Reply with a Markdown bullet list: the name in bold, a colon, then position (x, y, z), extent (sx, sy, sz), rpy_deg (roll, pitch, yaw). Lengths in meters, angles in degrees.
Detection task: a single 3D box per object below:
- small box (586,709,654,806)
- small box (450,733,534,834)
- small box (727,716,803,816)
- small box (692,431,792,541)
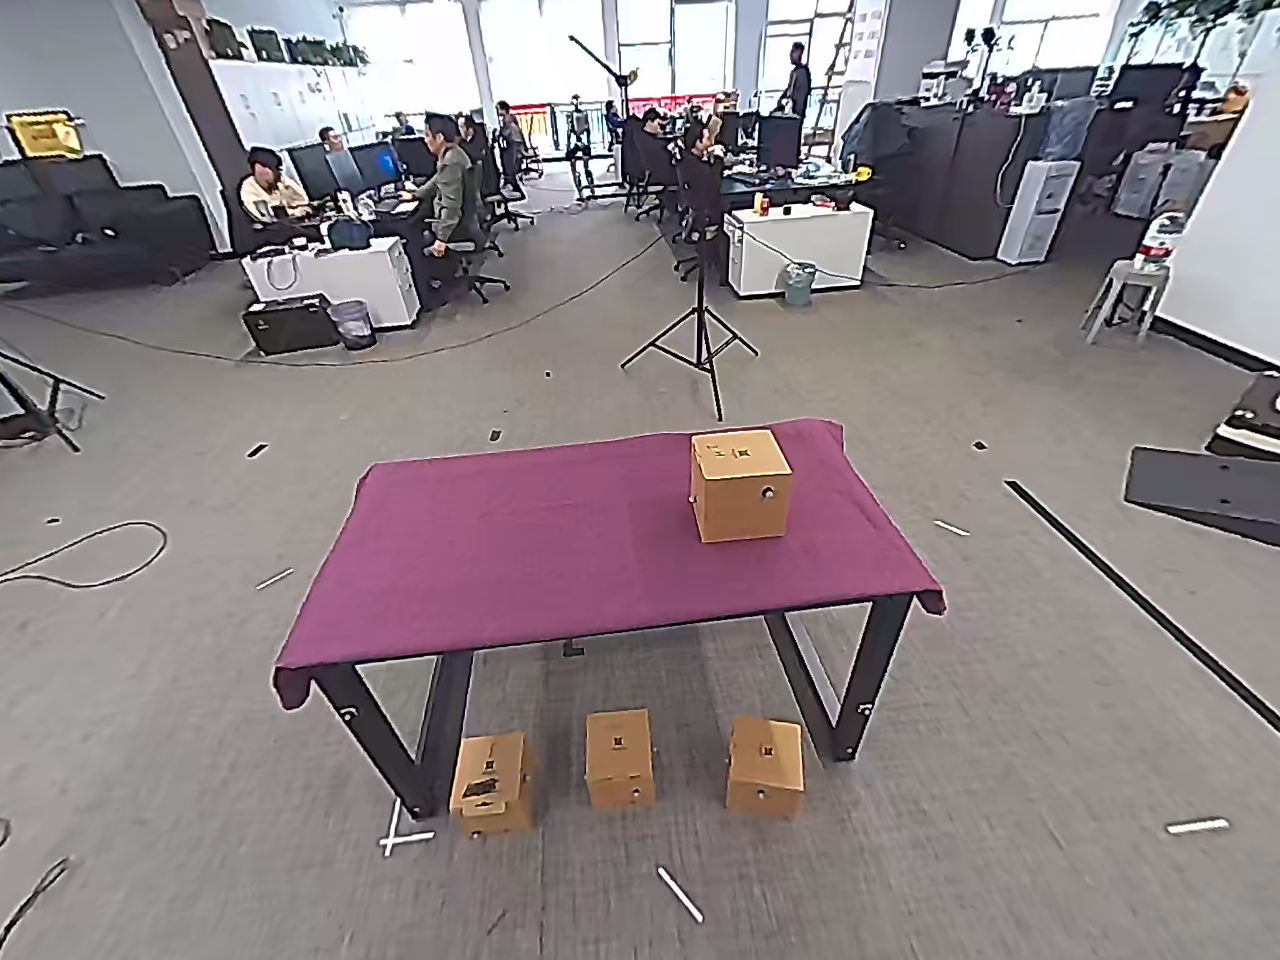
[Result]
- **small box**: position (-0.053, 0.740, 1.431), extent (0.168, 0.176, 0.179), rpy_deg (-4, 36, -2)
- **small box**: position (-0.371, 0.785, 1.394), extent (0.168, 0.176, 0.179), rpy_deg (-5, 36, -3)
- **small box**: position (0.319, 0.741, 1.399), extent (0.179, 0.176, 0.168), rpy_deg (3, 38, 11)
- **small box**: position (0.208, 0.013, 1.157), extent (0.179, 0.176, 0.168), rpy_deg (-5, 36, -2)
